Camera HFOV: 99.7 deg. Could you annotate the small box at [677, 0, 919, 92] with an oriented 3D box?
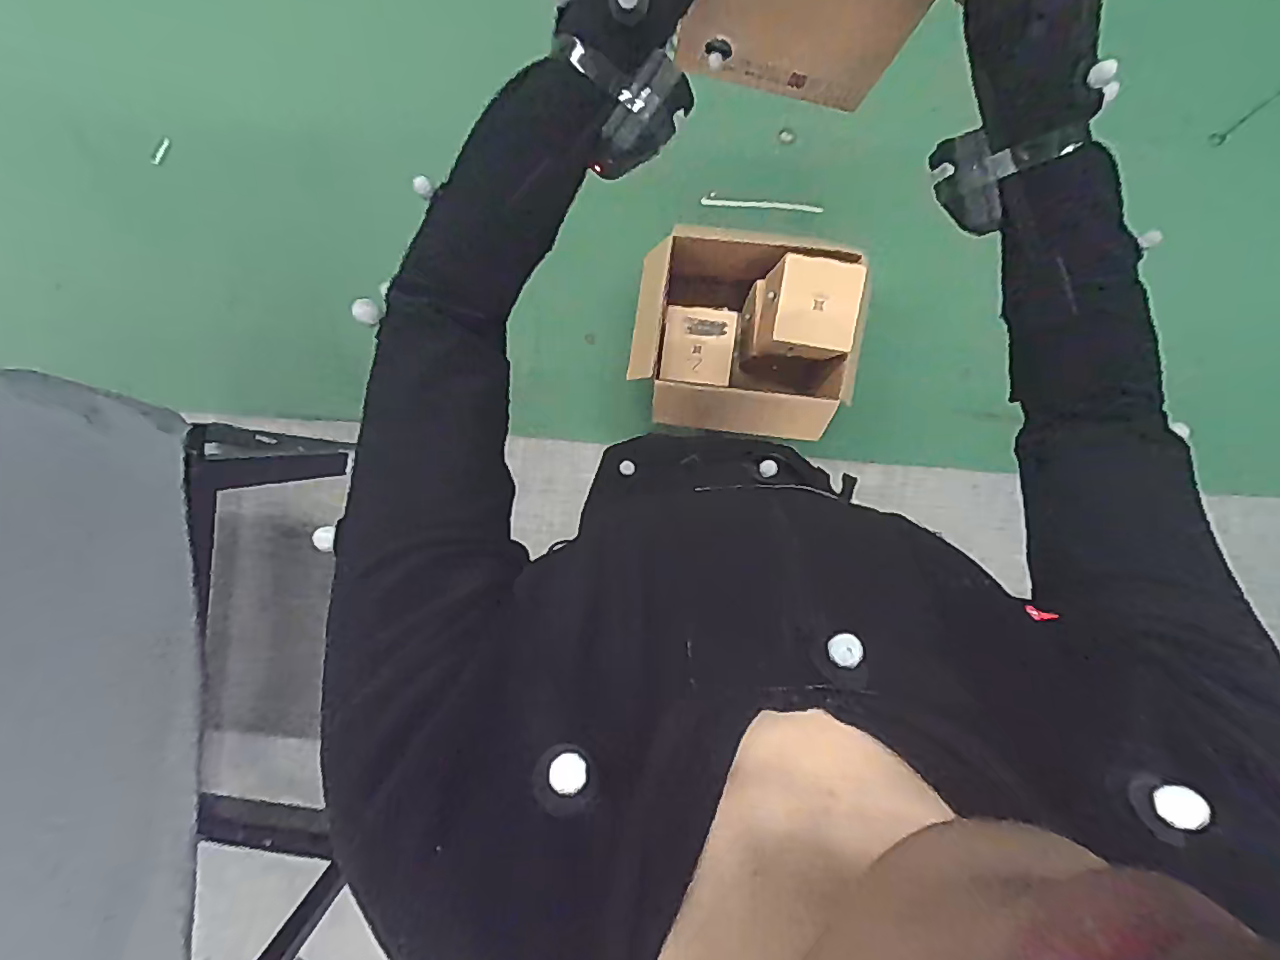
[{"bbox_3d":[0.125,-0.415,0.368,0.168,0.176,0.179,9,88,-6],"label":"small box"}]
